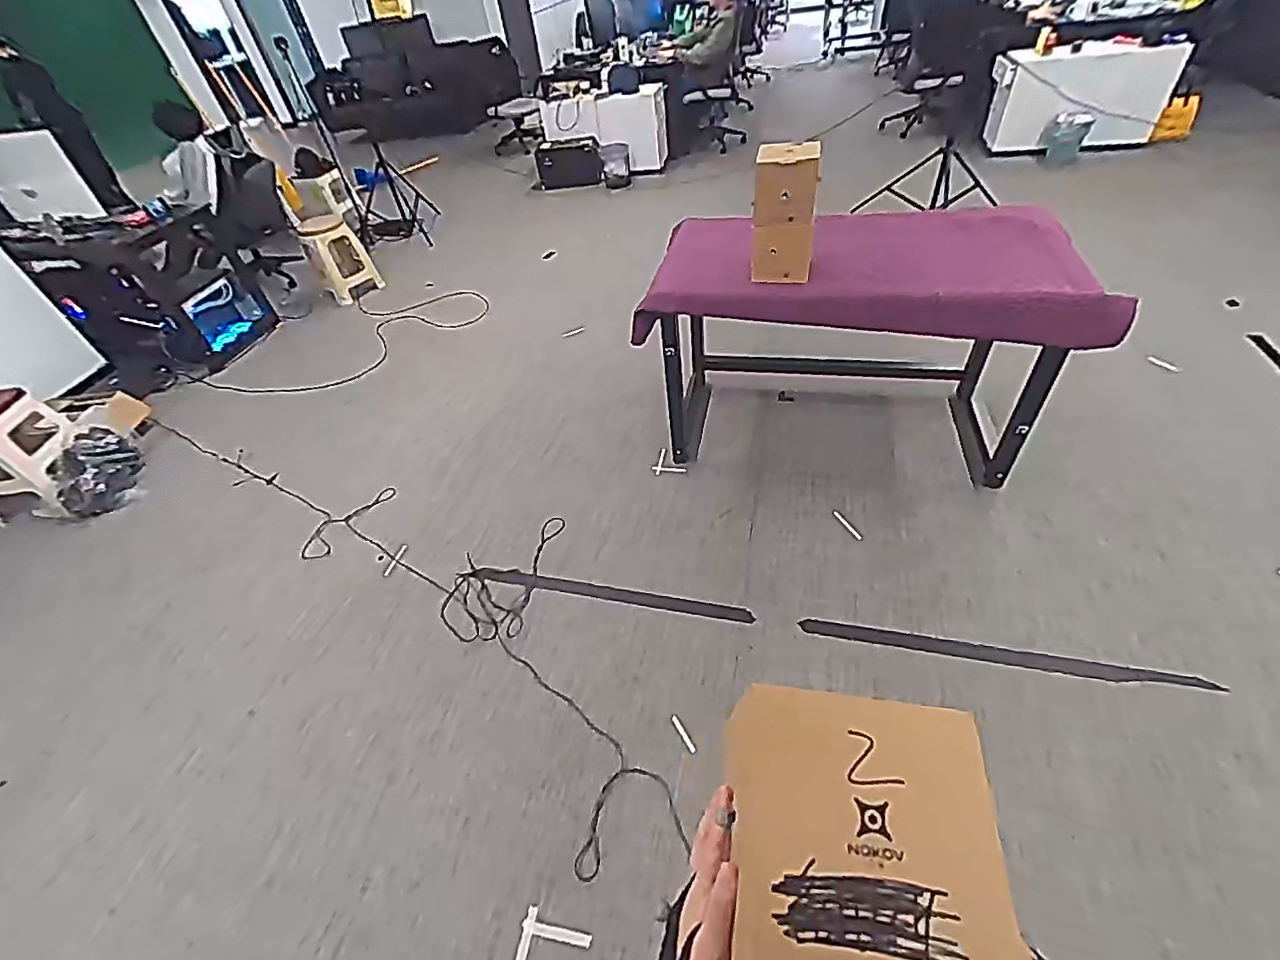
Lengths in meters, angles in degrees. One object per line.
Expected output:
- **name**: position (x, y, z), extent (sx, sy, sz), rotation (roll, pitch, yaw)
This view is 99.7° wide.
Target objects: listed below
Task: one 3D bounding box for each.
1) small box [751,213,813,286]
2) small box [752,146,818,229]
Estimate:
- **small box**: position (0.428, -0.703, 1.641), extent (0.168, 0.176, 0.179), rotation (6, 46, 15)
- **small box**: position (0.409, -0.822, 1.531), extent (0.168, 0.176, 0.179), rotation (5, 46, 13)
